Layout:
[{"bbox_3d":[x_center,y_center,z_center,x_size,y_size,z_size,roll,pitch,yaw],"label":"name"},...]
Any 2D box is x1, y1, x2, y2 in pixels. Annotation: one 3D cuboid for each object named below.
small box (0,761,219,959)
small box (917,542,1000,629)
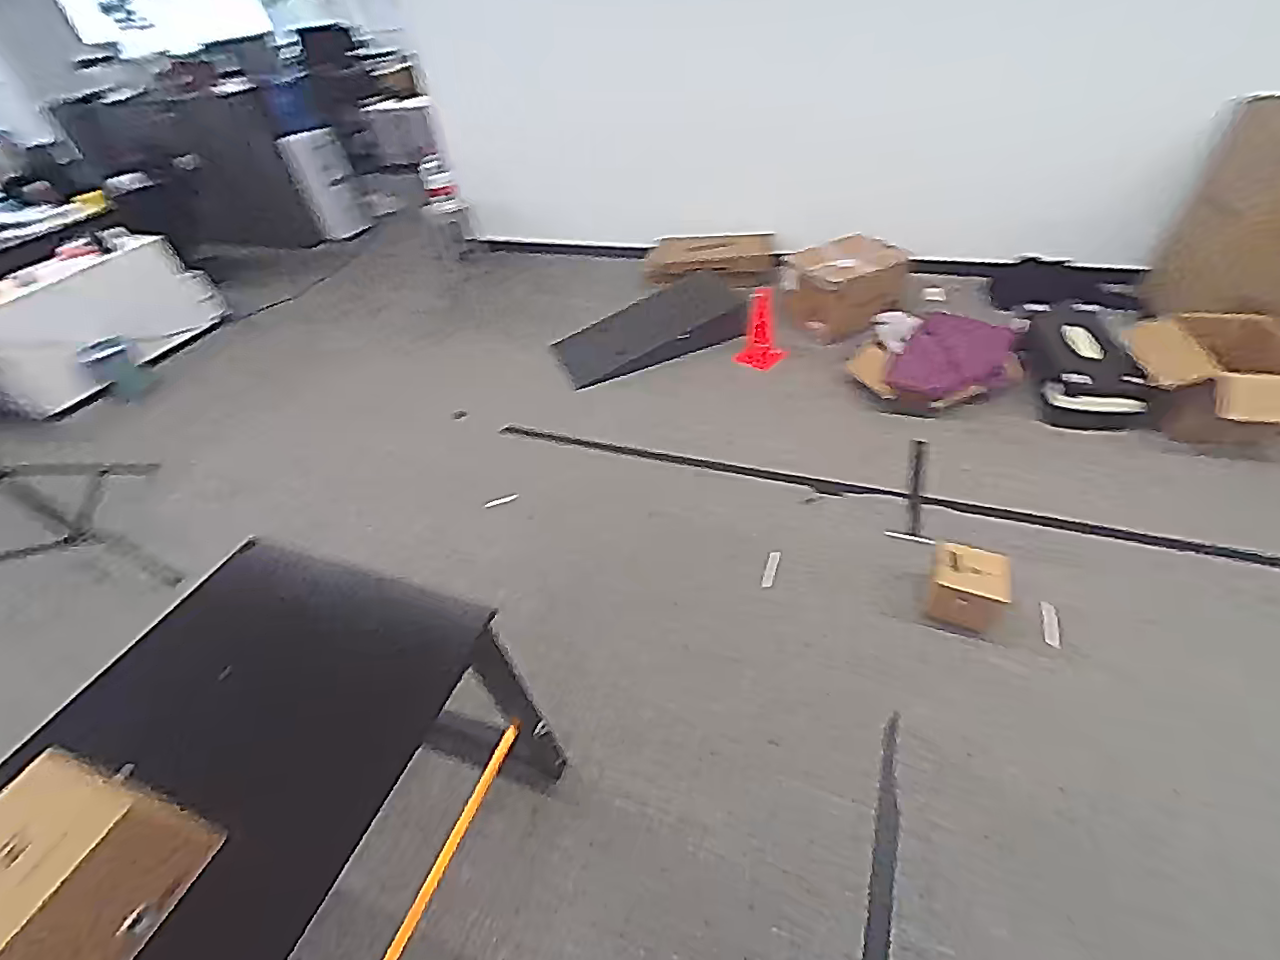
[{"bbox_3d":[-0.664,0.466,0.632,0.179,0.176,0.168,10,48,18],"label":"small box"},{"bbox_3d":[0.938,0.316,1.603,0.179,0.176,0.168,14,48,20],"label":"small box"}]
